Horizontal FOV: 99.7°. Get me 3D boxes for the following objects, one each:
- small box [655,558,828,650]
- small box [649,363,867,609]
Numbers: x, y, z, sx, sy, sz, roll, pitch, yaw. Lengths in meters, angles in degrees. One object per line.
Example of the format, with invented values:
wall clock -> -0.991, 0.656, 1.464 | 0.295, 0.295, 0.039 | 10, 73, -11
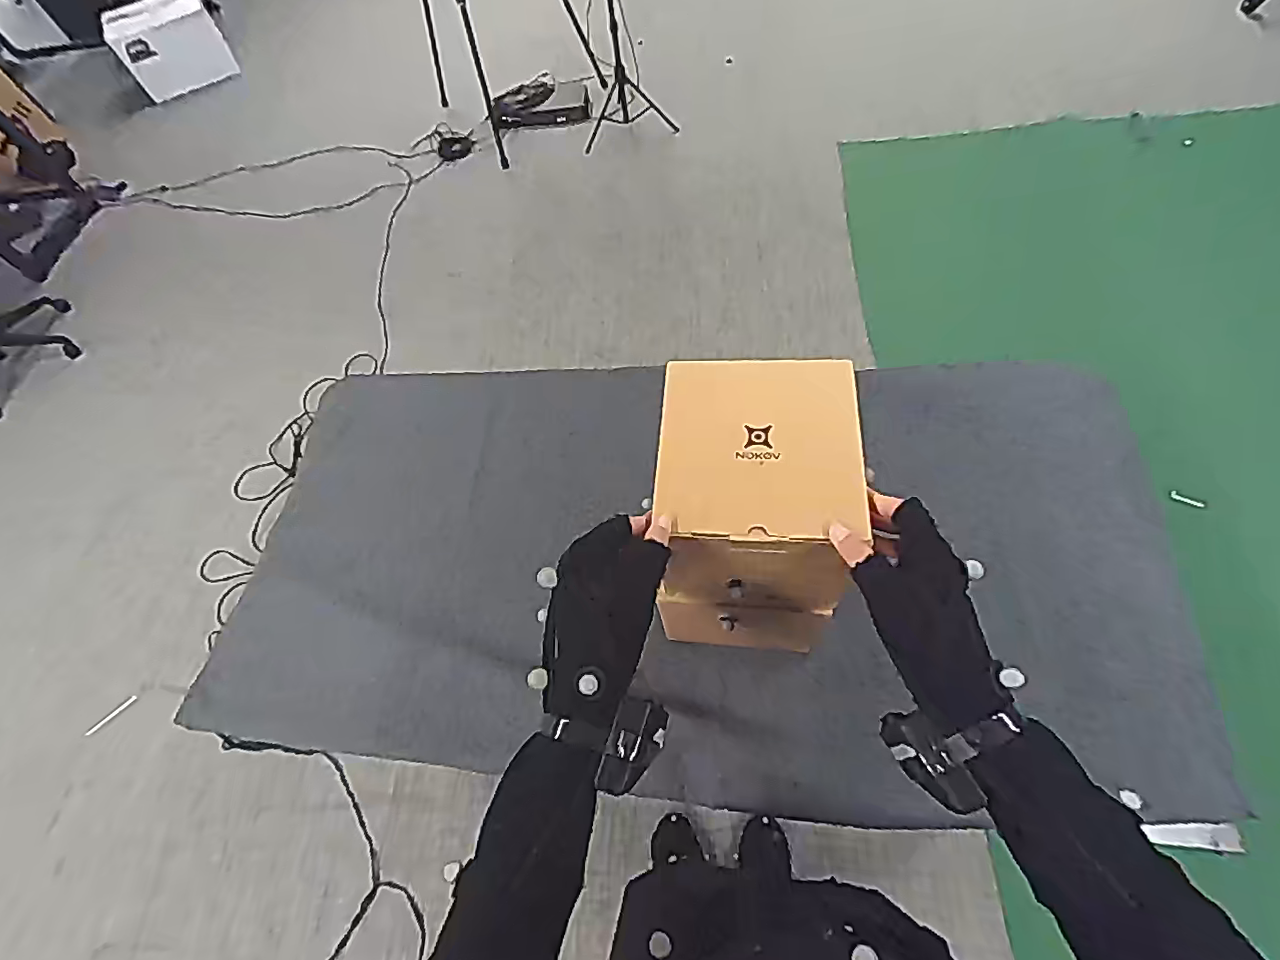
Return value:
small box -> 0.120, 0.100, 0.651 | 0.179, 0.176, 0.168 | 3, 61, 9
small box -> 0.104, 0.010, 0.516 | 0.168, 0.176, 0.179 | 2, 61, 9
